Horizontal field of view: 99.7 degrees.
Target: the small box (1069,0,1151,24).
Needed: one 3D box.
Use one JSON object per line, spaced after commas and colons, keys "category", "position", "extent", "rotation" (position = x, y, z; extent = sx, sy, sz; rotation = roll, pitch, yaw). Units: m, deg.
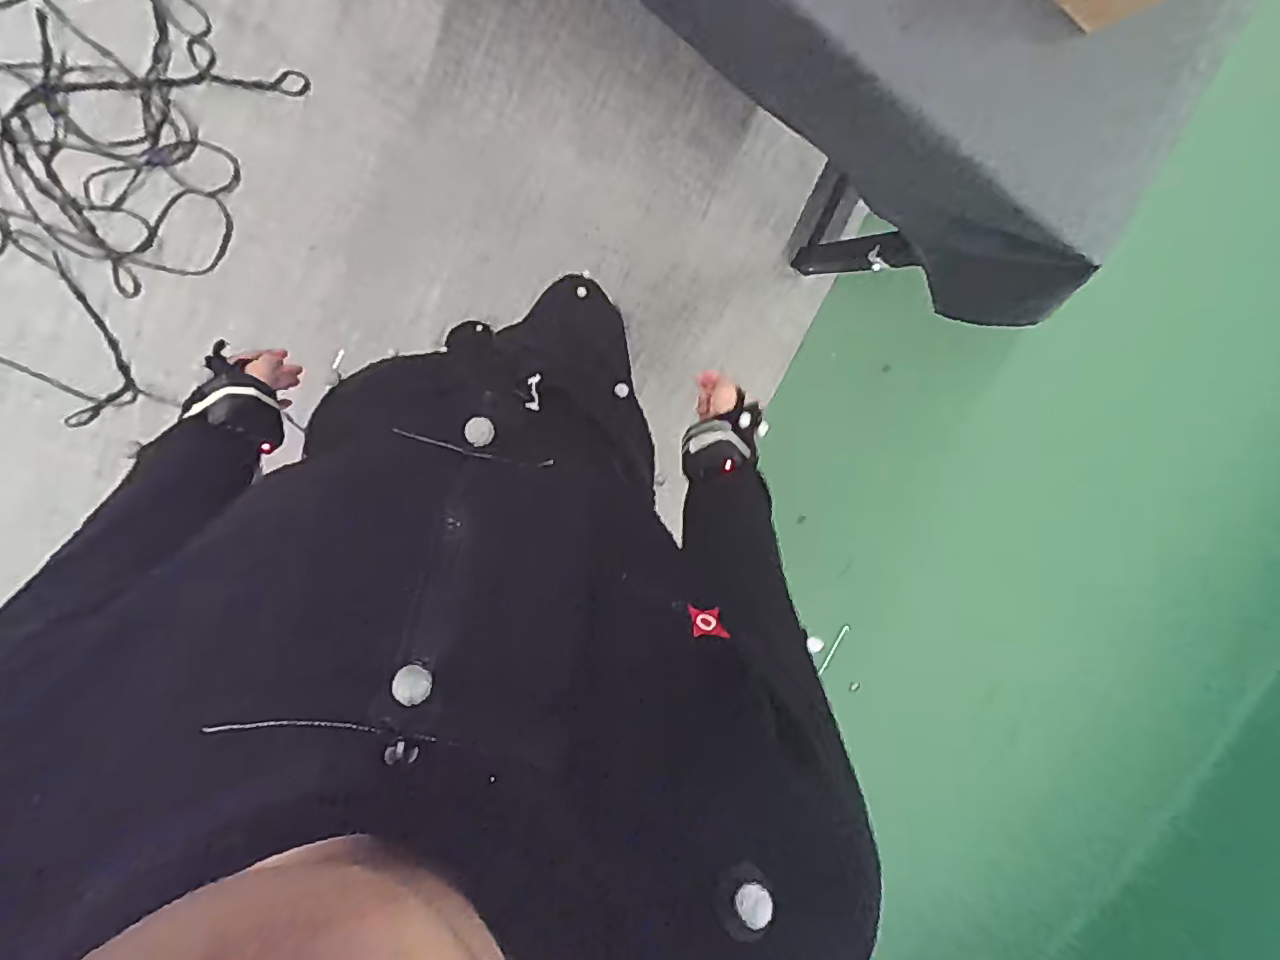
{"category": "small box", "position": [0.503, -0.588, 0.500], "extent": [0.168, 0.176, 0.179], "rotation": [20, 100, -22]}
